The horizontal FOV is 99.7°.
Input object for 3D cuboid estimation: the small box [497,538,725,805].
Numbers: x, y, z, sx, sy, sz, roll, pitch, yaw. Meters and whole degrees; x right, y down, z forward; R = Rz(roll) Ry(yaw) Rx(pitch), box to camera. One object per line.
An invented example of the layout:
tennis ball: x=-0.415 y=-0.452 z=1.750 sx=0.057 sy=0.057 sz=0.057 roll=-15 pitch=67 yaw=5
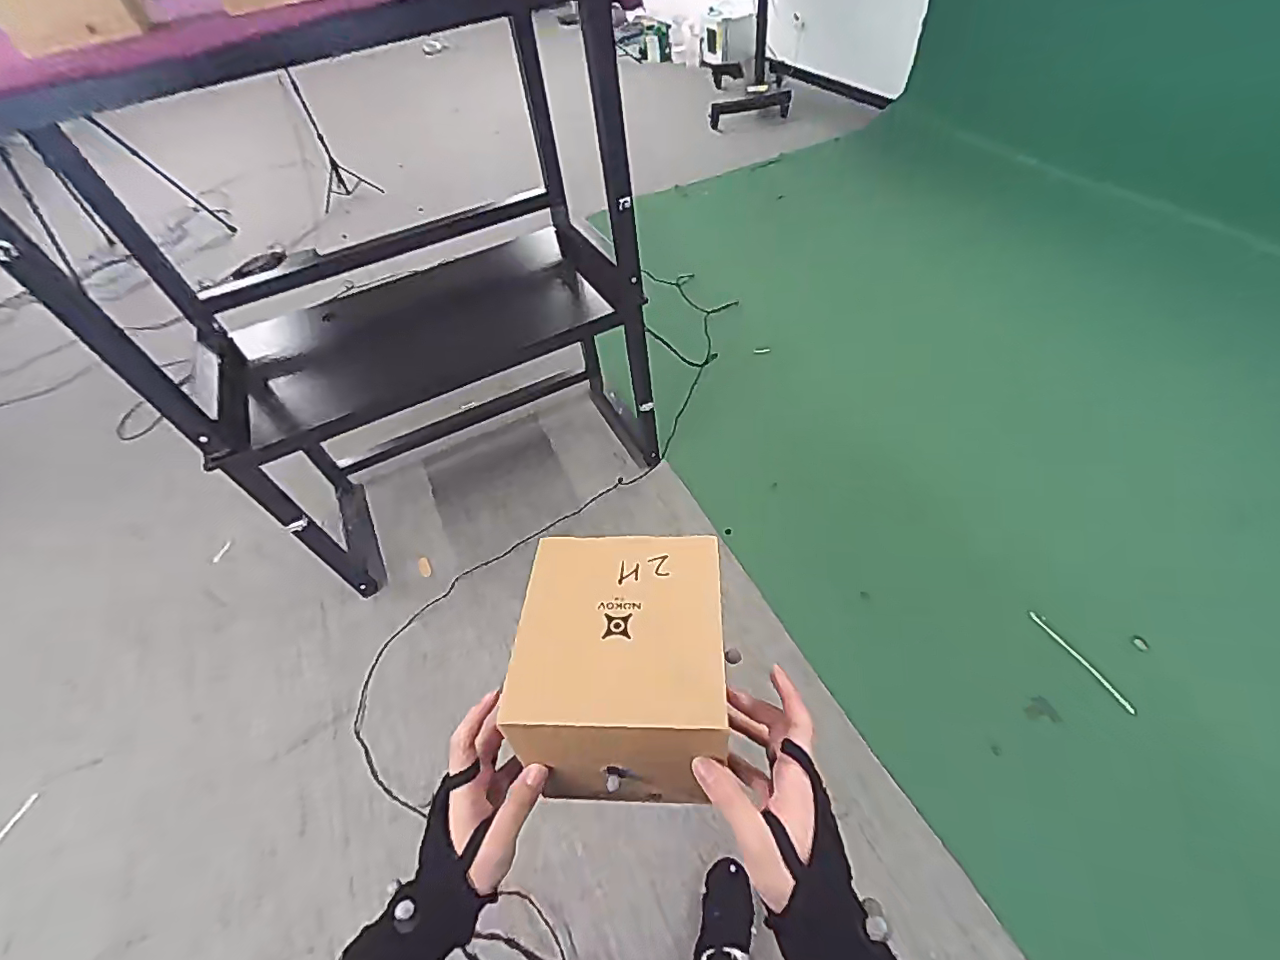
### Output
small box: x=-0.009 y=0.171 z=0.486 sx=0.168 sy=0.176 sz=0.179 roll=0 pitch=43 yaw=6
